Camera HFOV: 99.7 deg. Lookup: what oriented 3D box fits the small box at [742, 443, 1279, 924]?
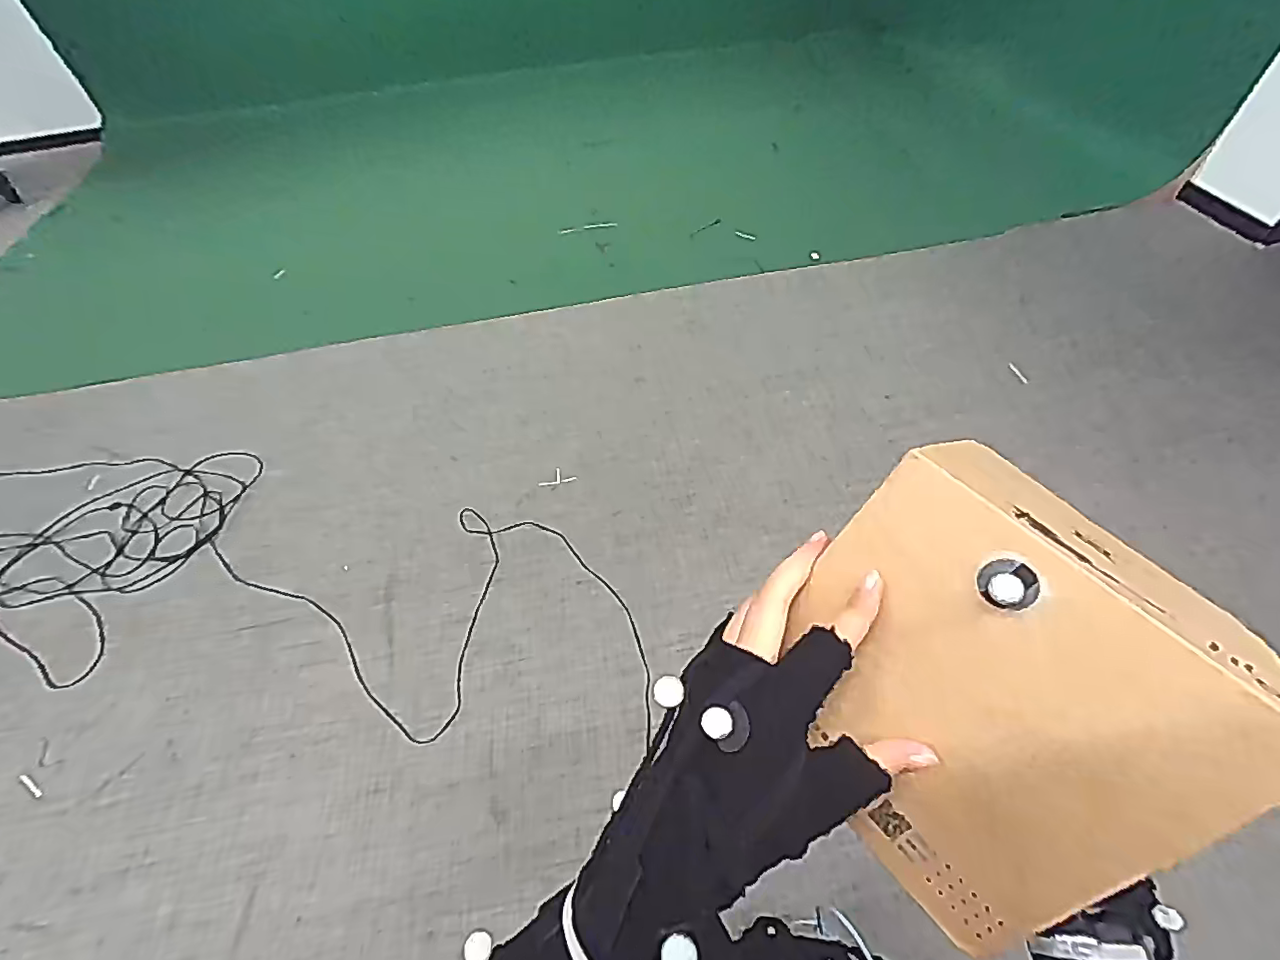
[{"bbox_3d":[0.190,0.095,0.317,0.179,0.176,0.168,-5,42,-50],"label":"small box"}]
